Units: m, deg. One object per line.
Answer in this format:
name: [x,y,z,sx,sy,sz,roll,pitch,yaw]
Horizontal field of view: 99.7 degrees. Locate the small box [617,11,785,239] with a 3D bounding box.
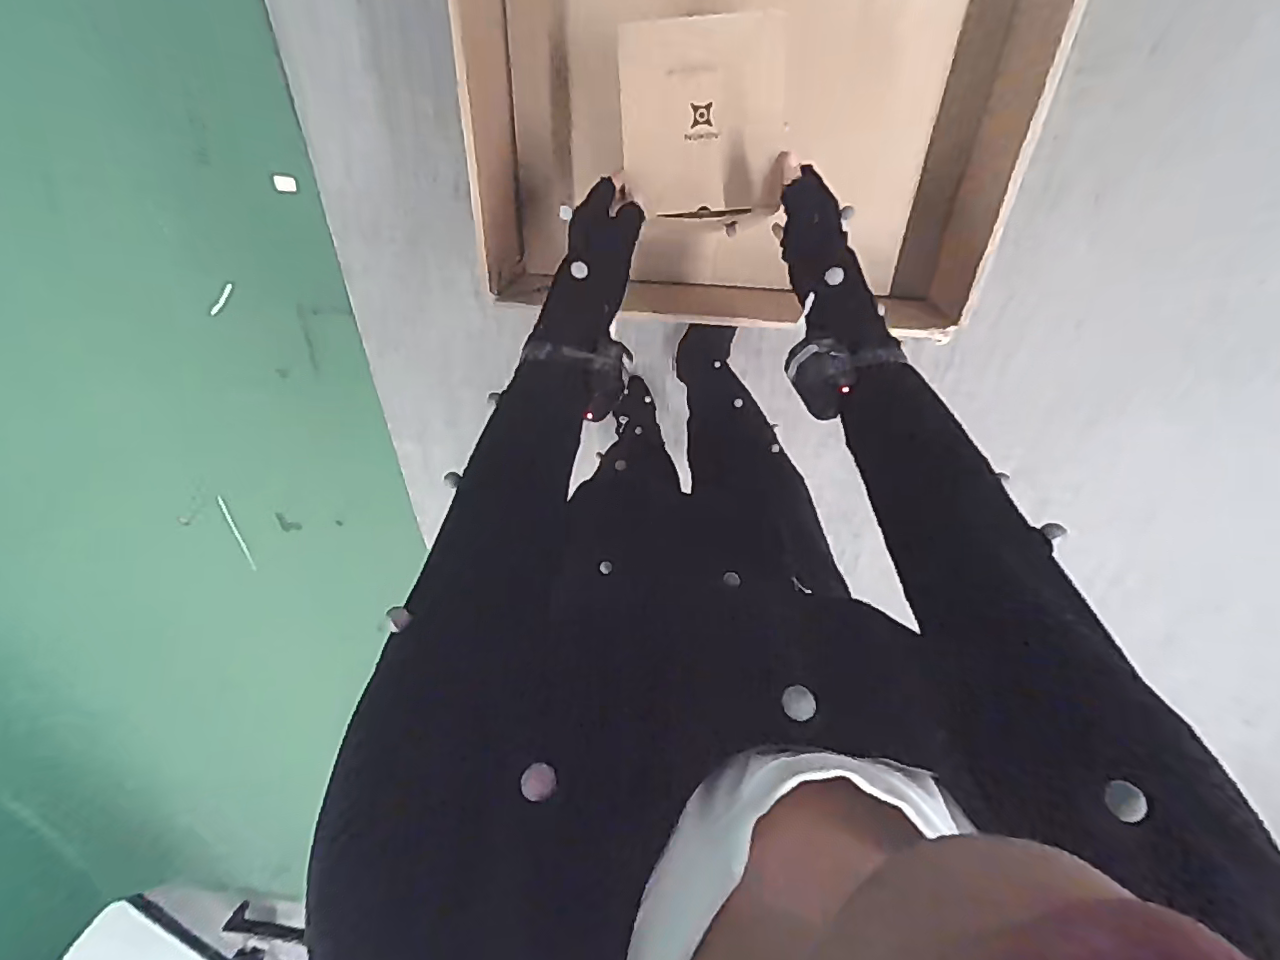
small box: [0.069,-0.385,0.625,0.168,0.176,0.179,-3,105,4]
